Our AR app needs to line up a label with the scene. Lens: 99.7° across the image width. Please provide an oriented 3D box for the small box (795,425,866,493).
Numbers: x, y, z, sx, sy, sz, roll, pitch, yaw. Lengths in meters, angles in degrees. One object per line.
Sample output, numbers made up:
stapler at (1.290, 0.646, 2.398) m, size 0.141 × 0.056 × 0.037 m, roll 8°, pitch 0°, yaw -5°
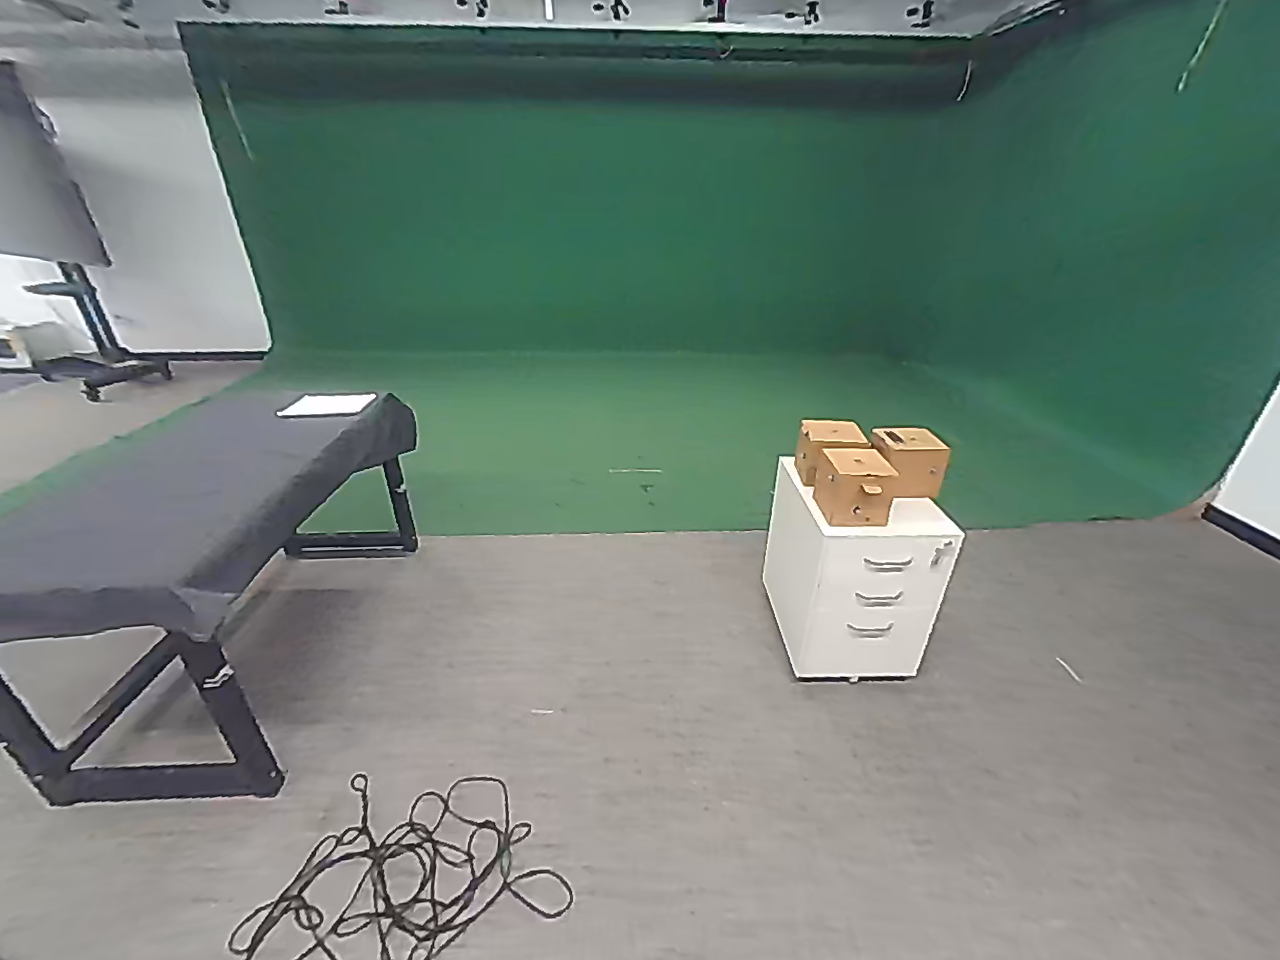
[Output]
small box at (0.613, -0.068, 1.768) m, size 0.179 × 0.176 × 0.168 m, roll 3°, pitch 29°, yaw 2°
